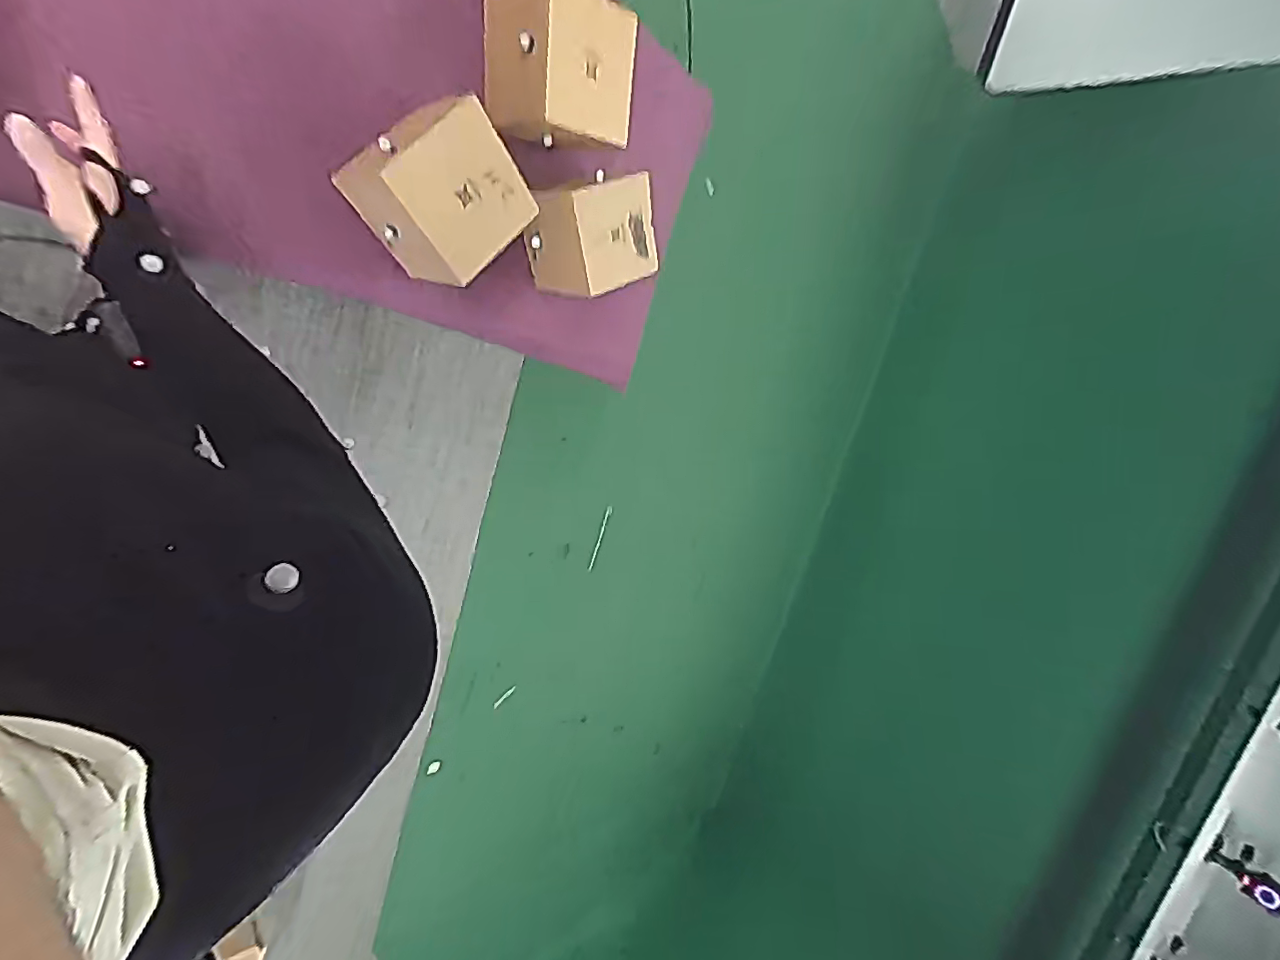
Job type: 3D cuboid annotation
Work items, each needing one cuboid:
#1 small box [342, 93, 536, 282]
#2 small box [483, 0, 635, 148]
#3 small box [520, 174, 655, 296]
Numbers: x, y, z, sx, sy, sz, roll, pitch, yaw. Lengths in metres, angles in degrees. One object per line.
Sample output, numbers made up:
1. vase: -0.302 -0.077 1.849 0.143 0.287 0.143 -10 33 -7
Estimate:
1. small box: -0.291 -0.411 0.775 0.179 0.176 0.168 -52 140 -16
2. small box: -0.131 -0.637 0.846 0.168 0.176 0.179 -15 120 -43
3. small box: -0.097 -0.449 0.980 0.179 0.176 0.168 -34 131 -32
